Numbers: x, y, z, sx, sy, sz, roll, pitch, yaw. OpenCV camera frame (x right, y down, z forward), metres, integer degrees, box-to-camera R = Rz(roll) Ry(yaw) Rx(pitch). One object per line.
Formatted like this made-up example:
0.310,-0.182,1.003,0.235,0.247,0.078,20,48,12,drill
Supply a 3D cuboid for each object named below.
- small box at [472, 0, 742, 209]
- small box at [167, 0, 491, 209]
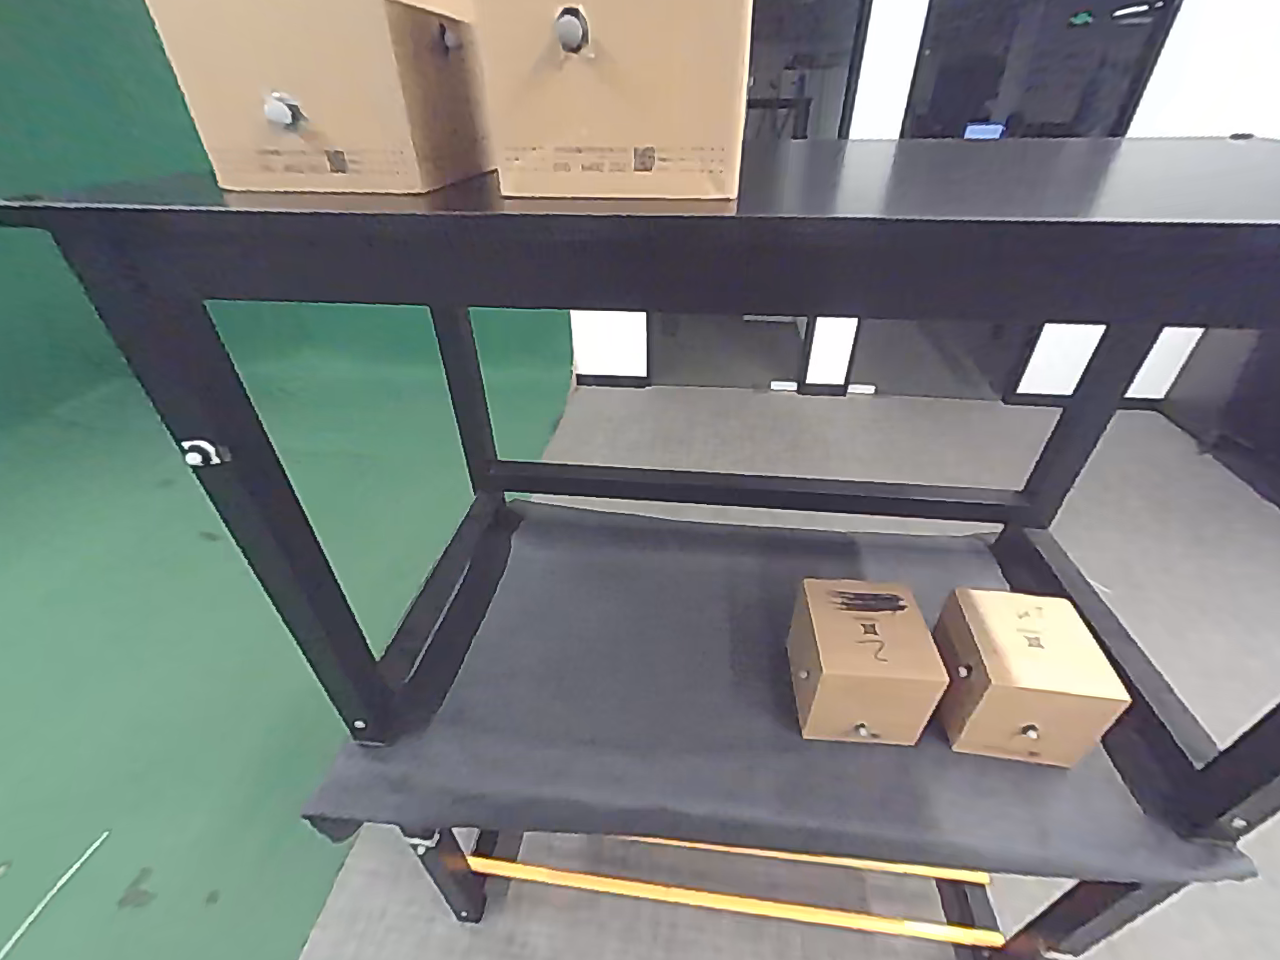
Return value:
-0.010,-0.305,0.402,0.168,0.176,0.179,4,35,7,small box
-0.232,-0.329,0.437,0.168,0.176,0.179,4,36,7,small box
